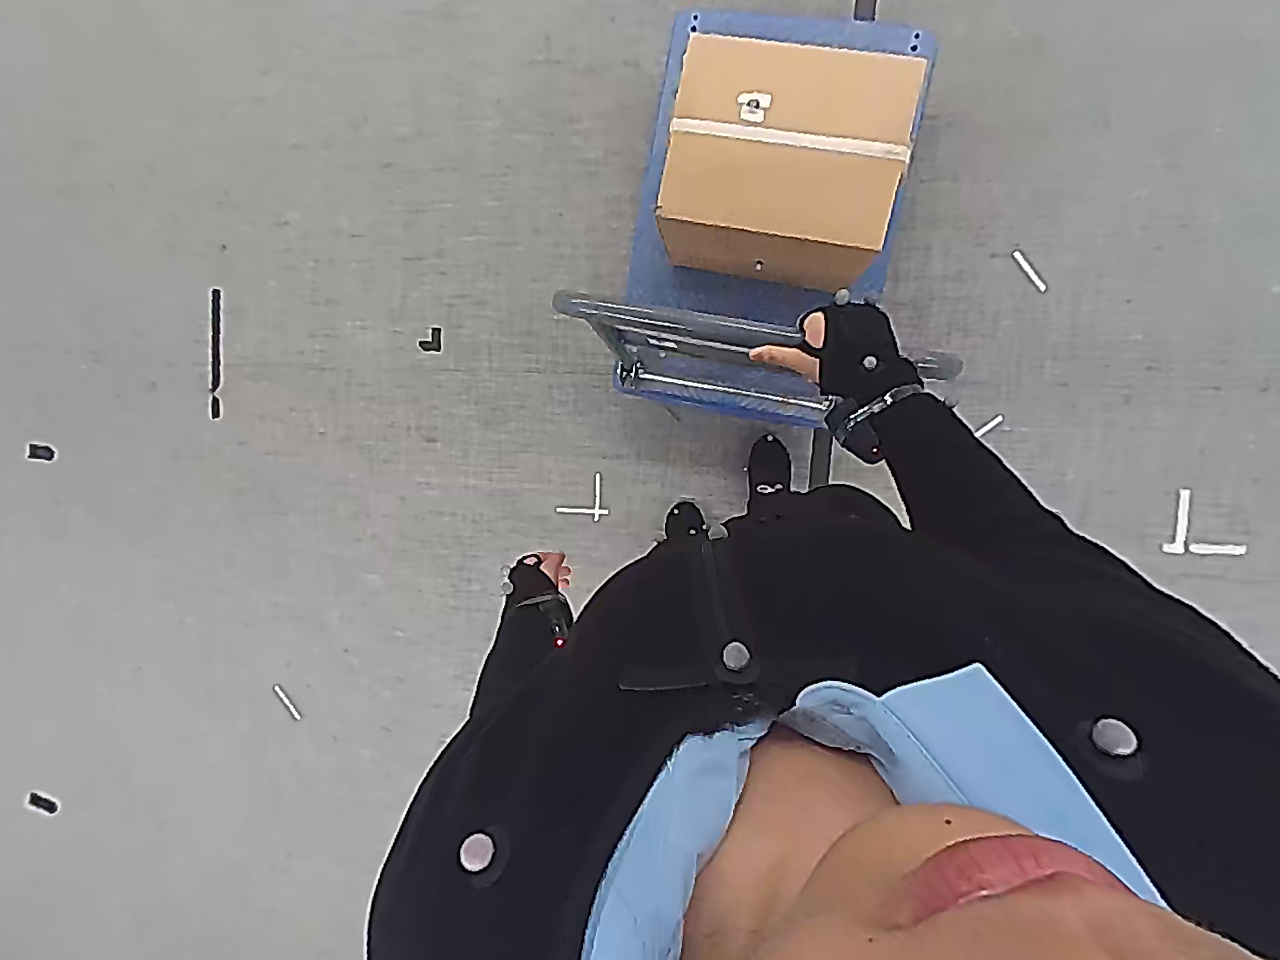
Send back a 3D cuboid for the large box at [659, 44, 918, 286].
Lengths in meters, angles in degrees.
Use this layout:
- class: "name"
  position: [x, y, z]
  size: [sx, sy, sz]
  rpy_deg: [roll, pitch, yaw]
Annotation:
- class: "large box"
  position: [0.279, -0.609, 1.101]
  size: [0.408, 0.320, 0.320]
  rpy_deg: [12, 96, 9]
